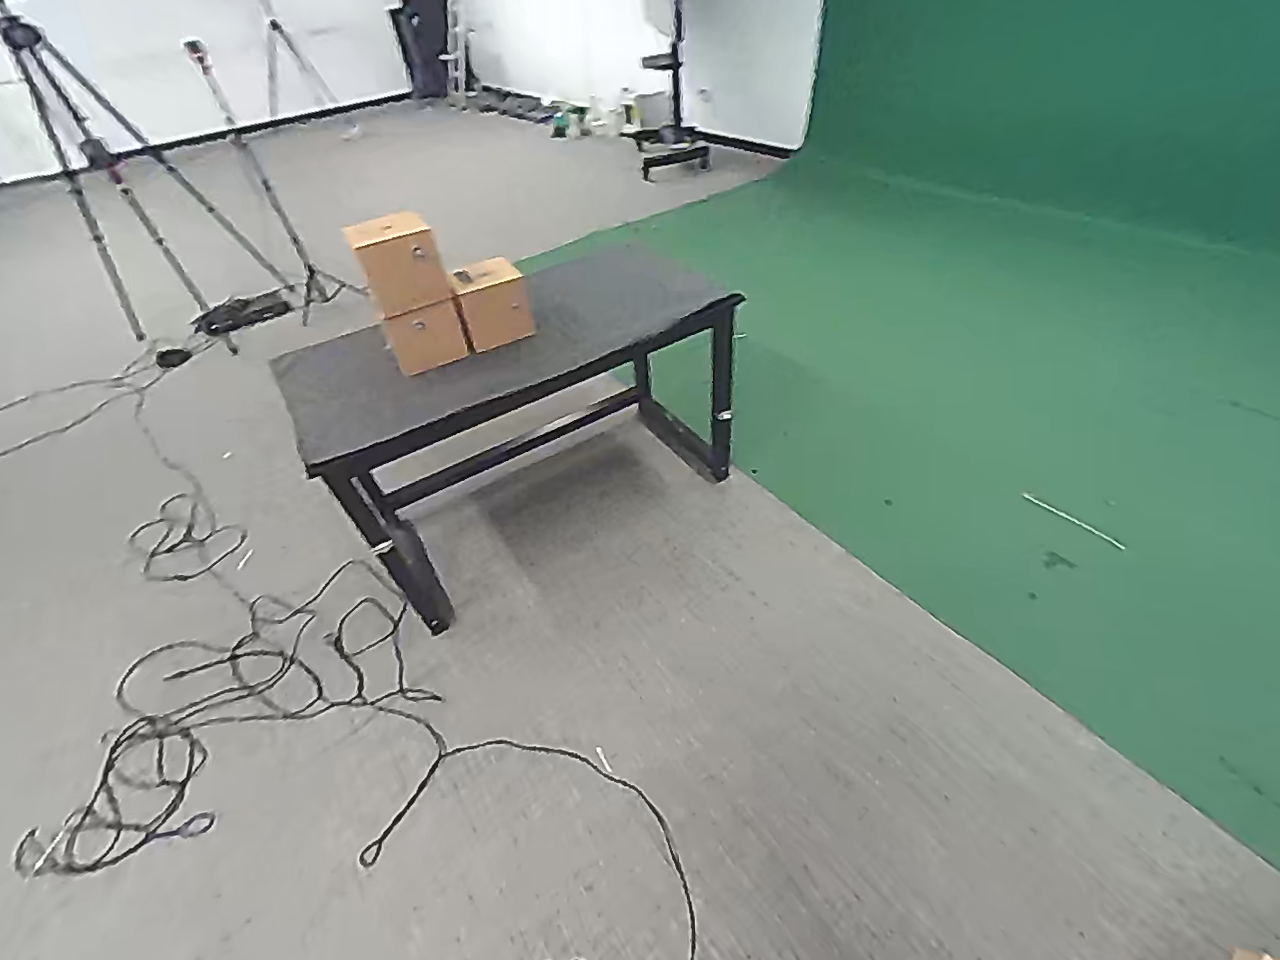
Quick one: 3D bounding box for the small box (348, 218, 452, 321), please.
[{"bbox_3d":[-0.577,-0.514,1.320,0.179,0.176,0.168,-26,47,-20],"label":"small box"}]
